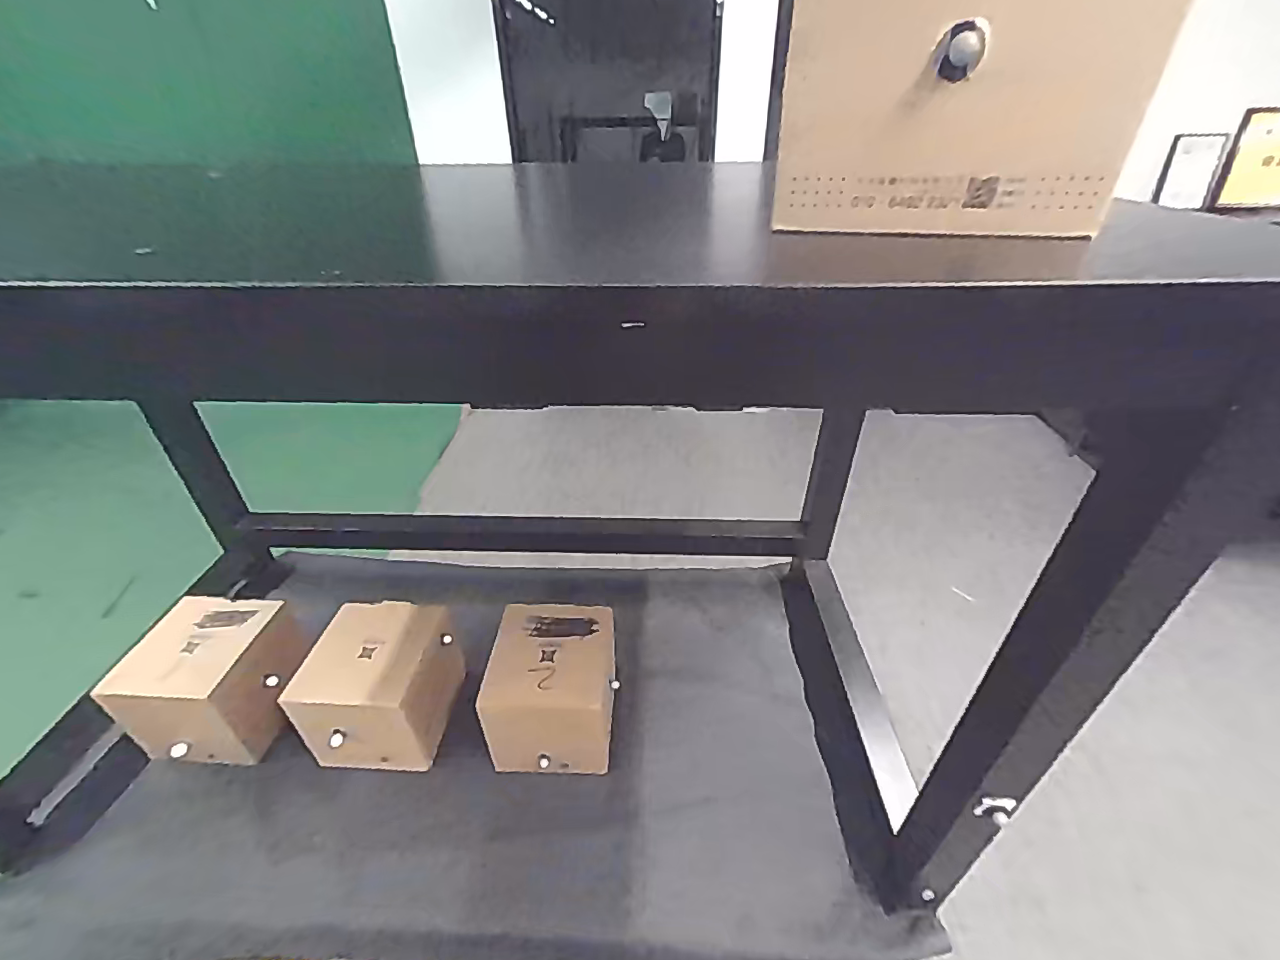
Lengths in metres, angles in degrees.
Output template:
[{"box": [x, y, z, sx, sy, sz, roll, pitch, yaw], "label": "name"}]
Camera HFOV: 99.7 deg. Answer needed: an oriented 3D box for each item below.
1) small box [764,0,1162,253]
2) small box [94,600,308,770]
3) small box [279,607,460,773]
[{"box": [0.169, -0.241, 0.324, 0.168, 0.176, 0.179, 7, 35, 11], "label": "small box"}, {"box": [-0.641, 0.309, 0.825, 0.168, 0.176, 0.179, 1, 34, 3], "label": "small box"}, {"box": [-0.388, 0.315, 0.817, 0.168, 0.176, 0.179, 1, 34, 2], "label": "small box"}]
